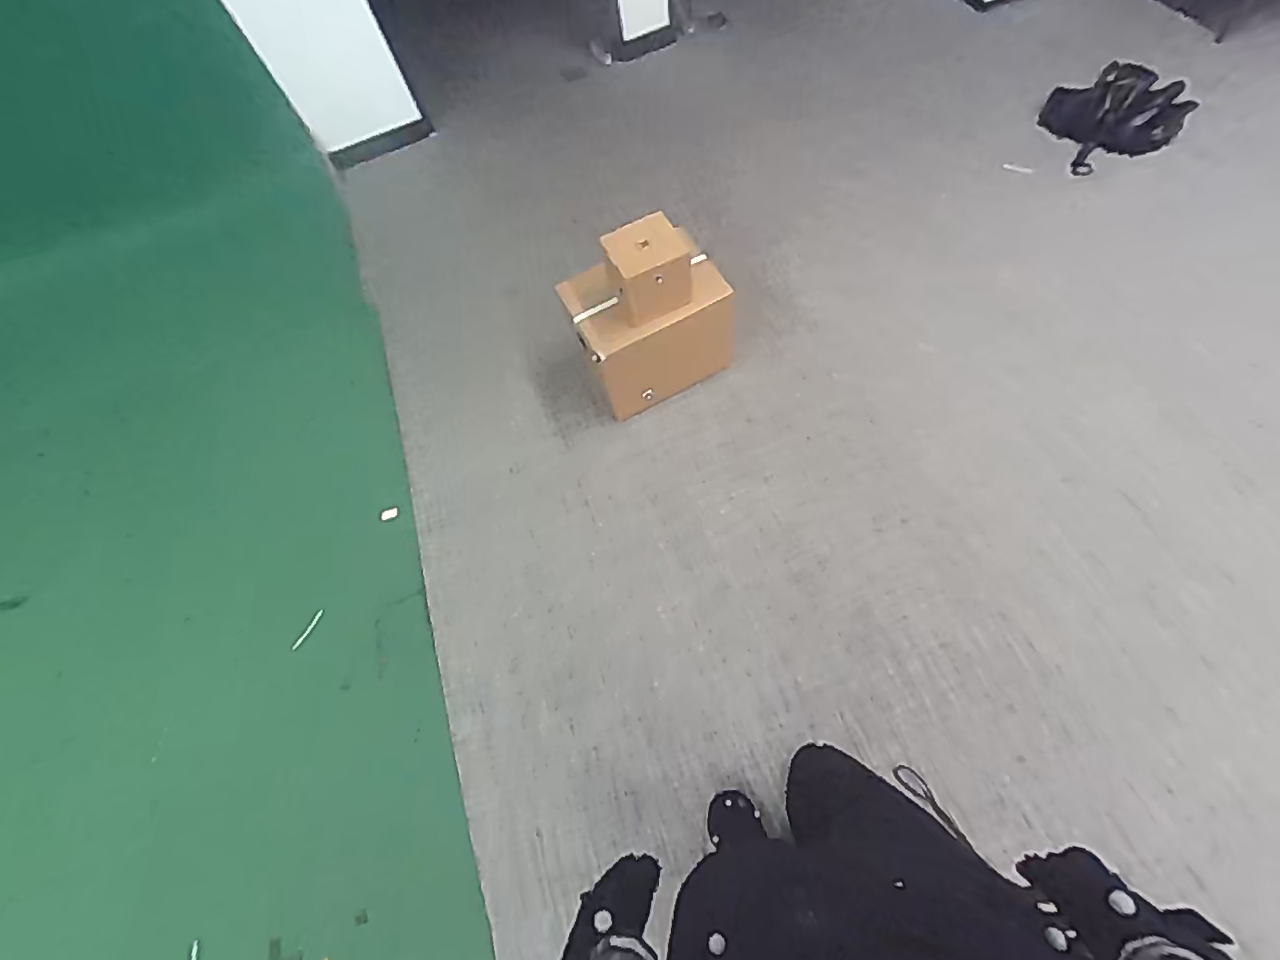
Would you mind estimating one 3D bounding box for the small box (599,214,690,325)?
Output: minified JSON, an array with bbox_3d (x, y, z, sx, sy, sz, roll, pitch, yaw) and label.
[{"bbox_3d":[0.018,-0.526,1.370,0.179,0.176,0.168,-26,65,-5],"label":"small box"}]
